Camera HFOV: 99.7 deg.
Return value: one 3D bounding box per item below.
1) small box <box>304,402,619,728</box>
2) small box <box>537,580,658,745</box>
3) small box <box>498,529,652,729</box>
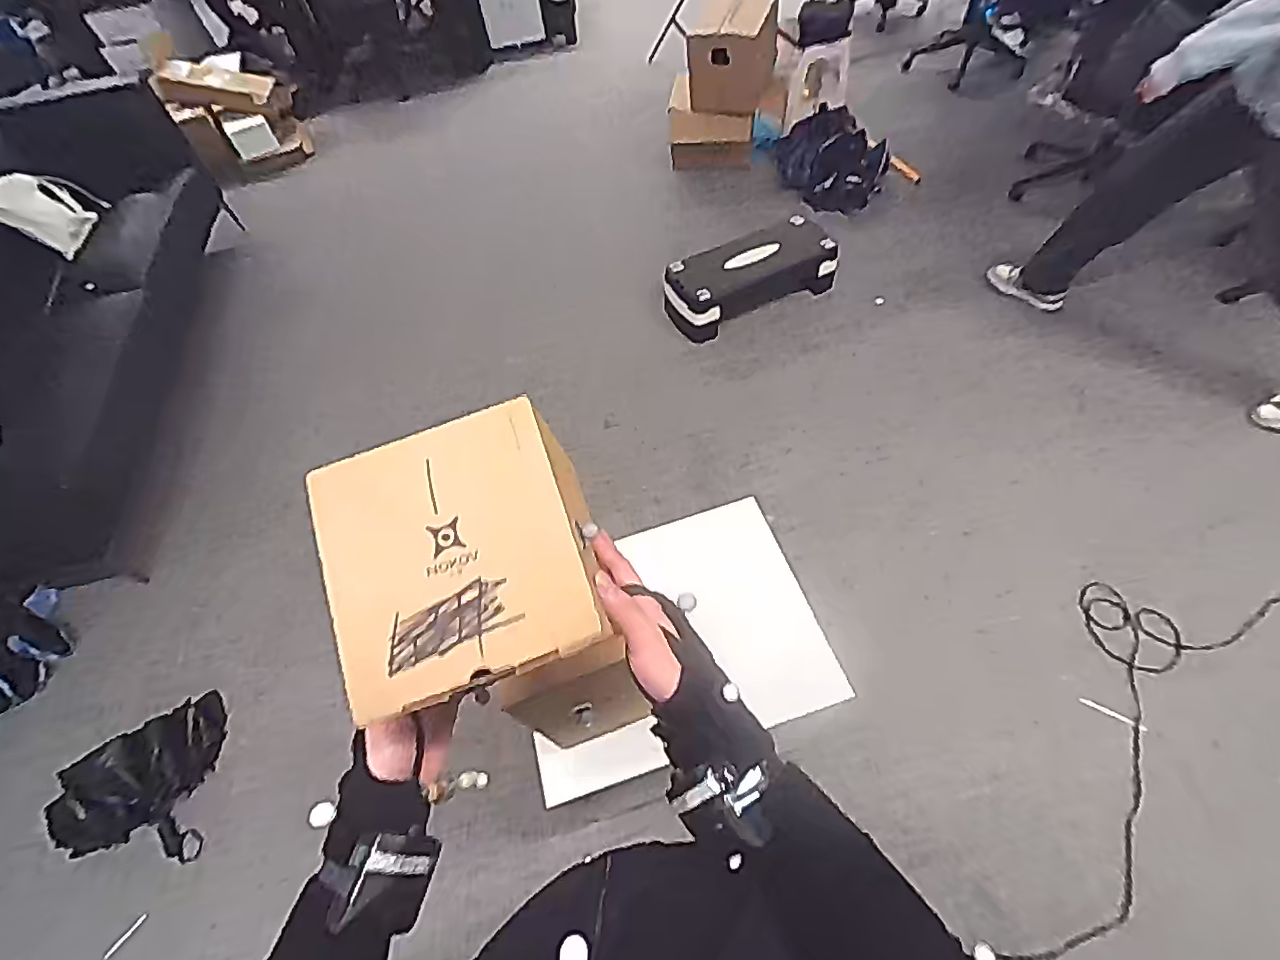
[{"bbox_3d":[-0.123,0.068,0.432,0.168,0.176,0.179,-20,75,-1],"label":"small box"},{"bbox_3d":[-0.078,0.286,0.842,0.168,0.176,0.179,-19,56,-6],"label":"small box"},{"bbox_3d":[-0.094,0.198,0.707,0.168,0.176,0.179,-22,57,-6],"label":"small box"}]
